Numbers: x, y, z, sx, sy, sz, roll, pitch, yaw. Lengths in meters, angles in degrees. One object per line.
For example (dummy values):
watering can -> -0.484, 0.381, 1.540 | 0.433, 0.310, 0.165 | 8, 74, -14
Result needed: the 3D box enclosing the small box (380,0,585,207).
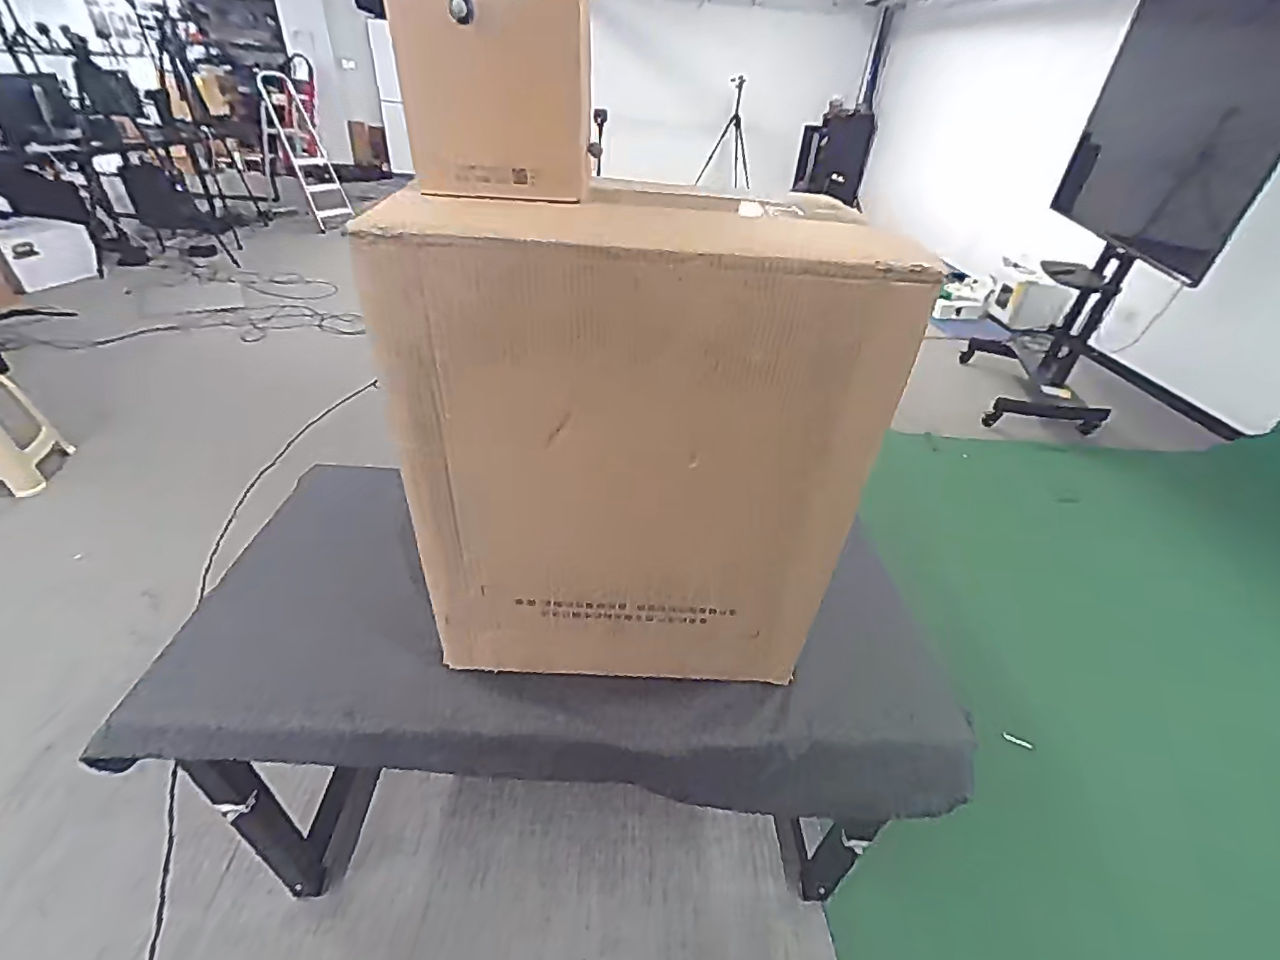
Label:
small box -> -0.144, -0.395, 0.560 | 0.168, 0.176, 0.179 | 1, 37, -2
